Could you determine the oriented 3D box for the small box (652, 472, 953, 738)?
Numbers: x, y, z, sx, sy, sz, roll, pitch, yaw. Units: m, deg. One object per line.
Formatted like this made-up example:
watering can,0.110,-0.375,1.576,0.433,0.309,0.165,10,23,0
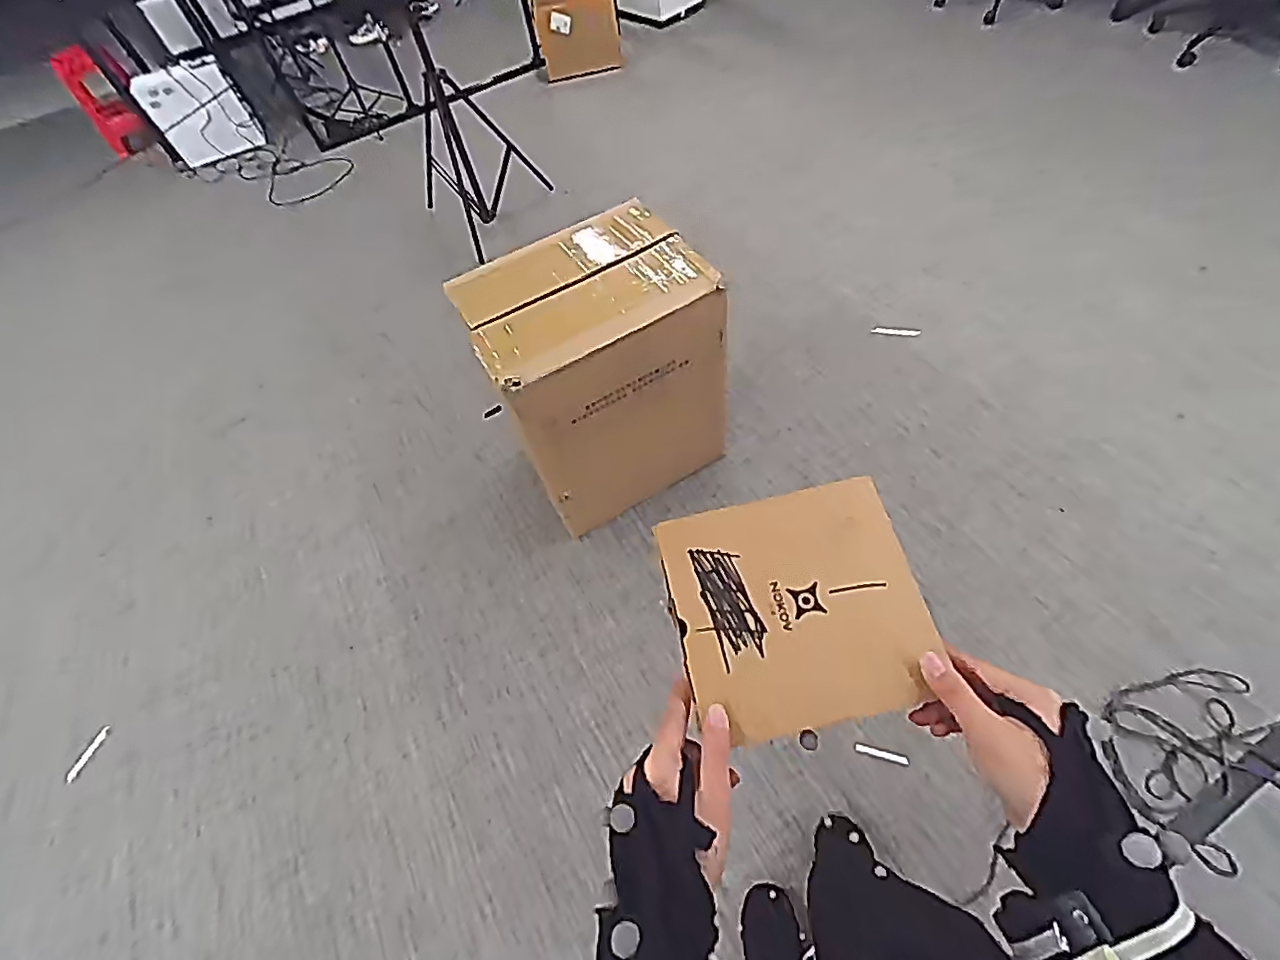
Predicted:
small box,0.117,0.117,0.461,0.179,0.176,0.168,-13,65,1
